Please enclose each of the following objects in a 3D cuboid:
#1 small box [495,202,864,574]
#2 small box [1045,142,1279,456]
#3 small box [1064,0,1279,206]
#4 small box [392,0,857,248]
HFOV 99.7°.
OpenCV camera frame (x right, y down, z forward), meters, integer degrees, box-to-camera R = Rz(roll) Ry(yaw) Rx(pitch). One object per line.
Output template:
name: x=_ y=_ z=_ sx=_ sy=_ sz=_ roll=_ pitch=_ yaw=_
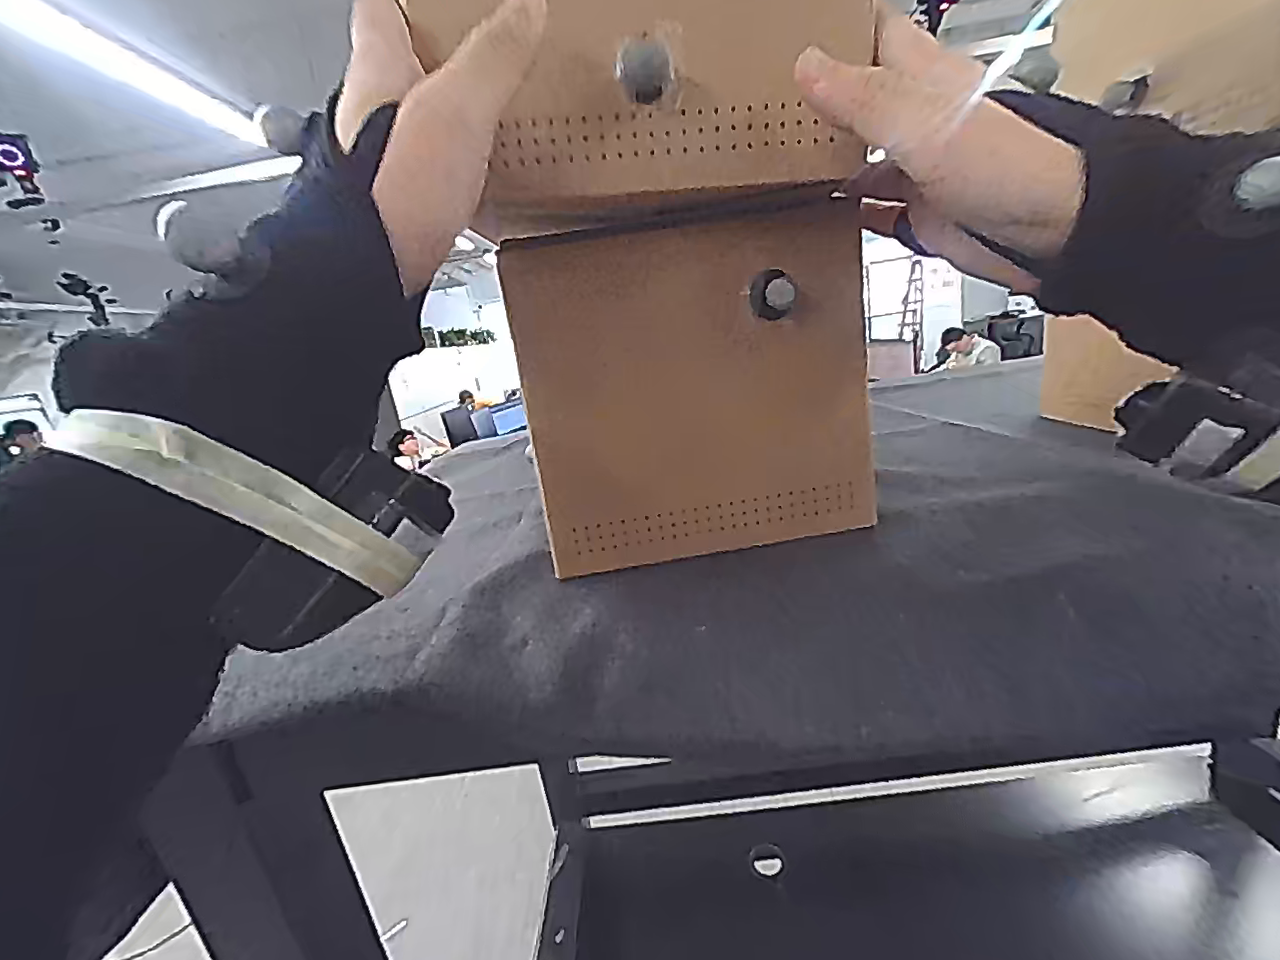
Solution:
small box: x=0.025 y=-0.056 z=0.346 sx=0.179 sy=0.176 sz=0.168 roll=-9 pitch=13 yaw=-2
small box: x=0.404 y=-0.116 z=0.351 sx=0.168 sy=0.176 sz=0.179 roll=-8 pitch=13 yaw=6
small box: x=0.377 y=-0.271 z=0.302 sx=0.179 sy=0.176 sz=0.168 roll=-9 pitch=13 yaw=6
small box: x=-0.005 y=-0.210 z=0.263 sx=0.179 sy=0.176 sz=0.168 roll=-3 pitch=16 yaw=-1
